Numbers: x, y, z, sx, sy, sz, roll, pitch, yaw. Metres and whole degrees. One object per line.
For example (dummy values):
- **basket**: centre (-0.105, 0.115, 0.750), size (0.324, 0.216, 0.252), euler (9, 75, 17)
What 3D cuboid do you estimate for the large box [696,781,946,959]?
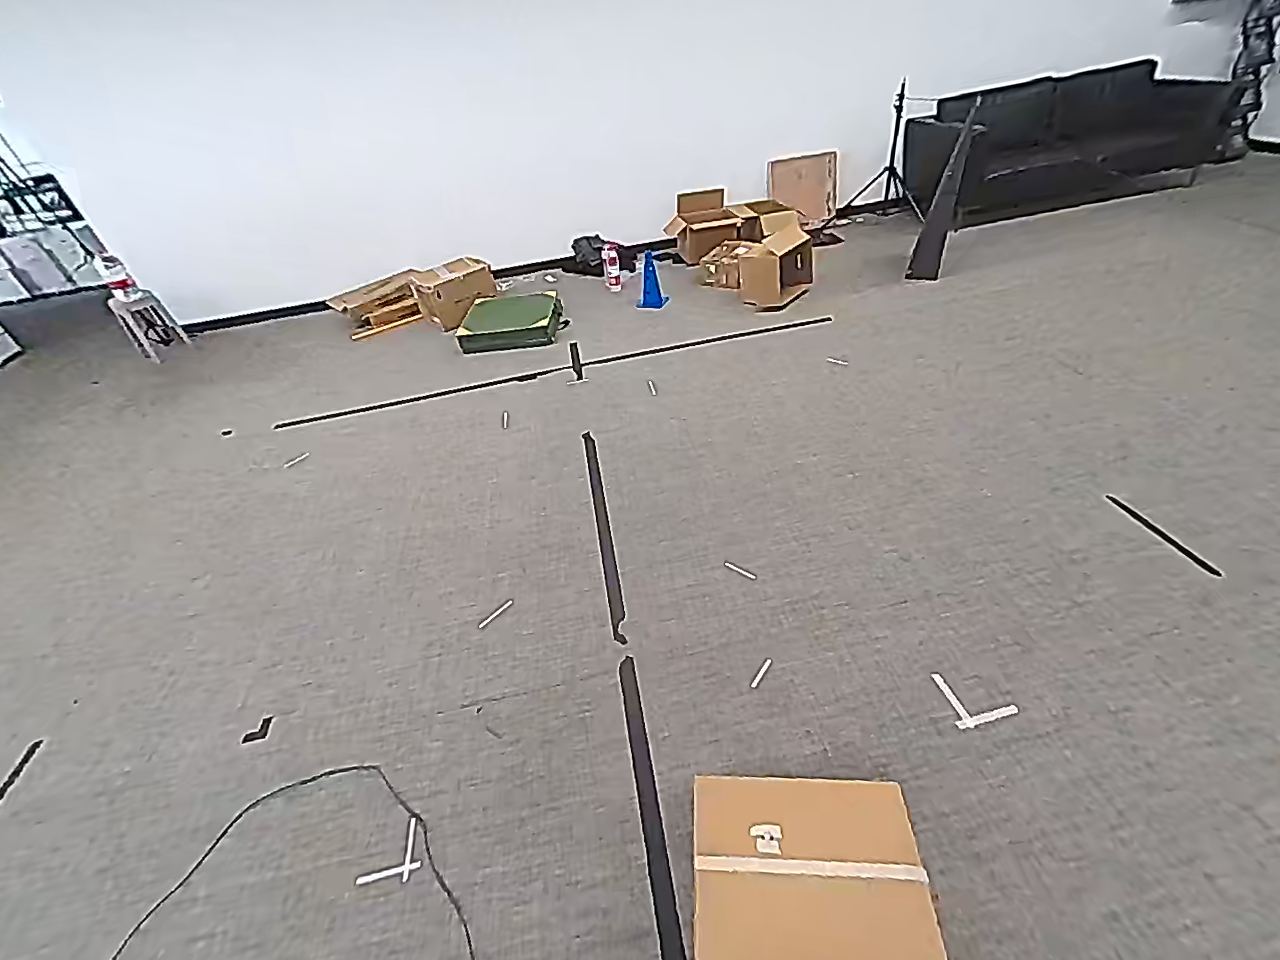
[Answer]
- **large box**: centre (0.324, 0.826, 1.075), size (0.408, 0.320, 0.320), euler (-3, 38, 8)
